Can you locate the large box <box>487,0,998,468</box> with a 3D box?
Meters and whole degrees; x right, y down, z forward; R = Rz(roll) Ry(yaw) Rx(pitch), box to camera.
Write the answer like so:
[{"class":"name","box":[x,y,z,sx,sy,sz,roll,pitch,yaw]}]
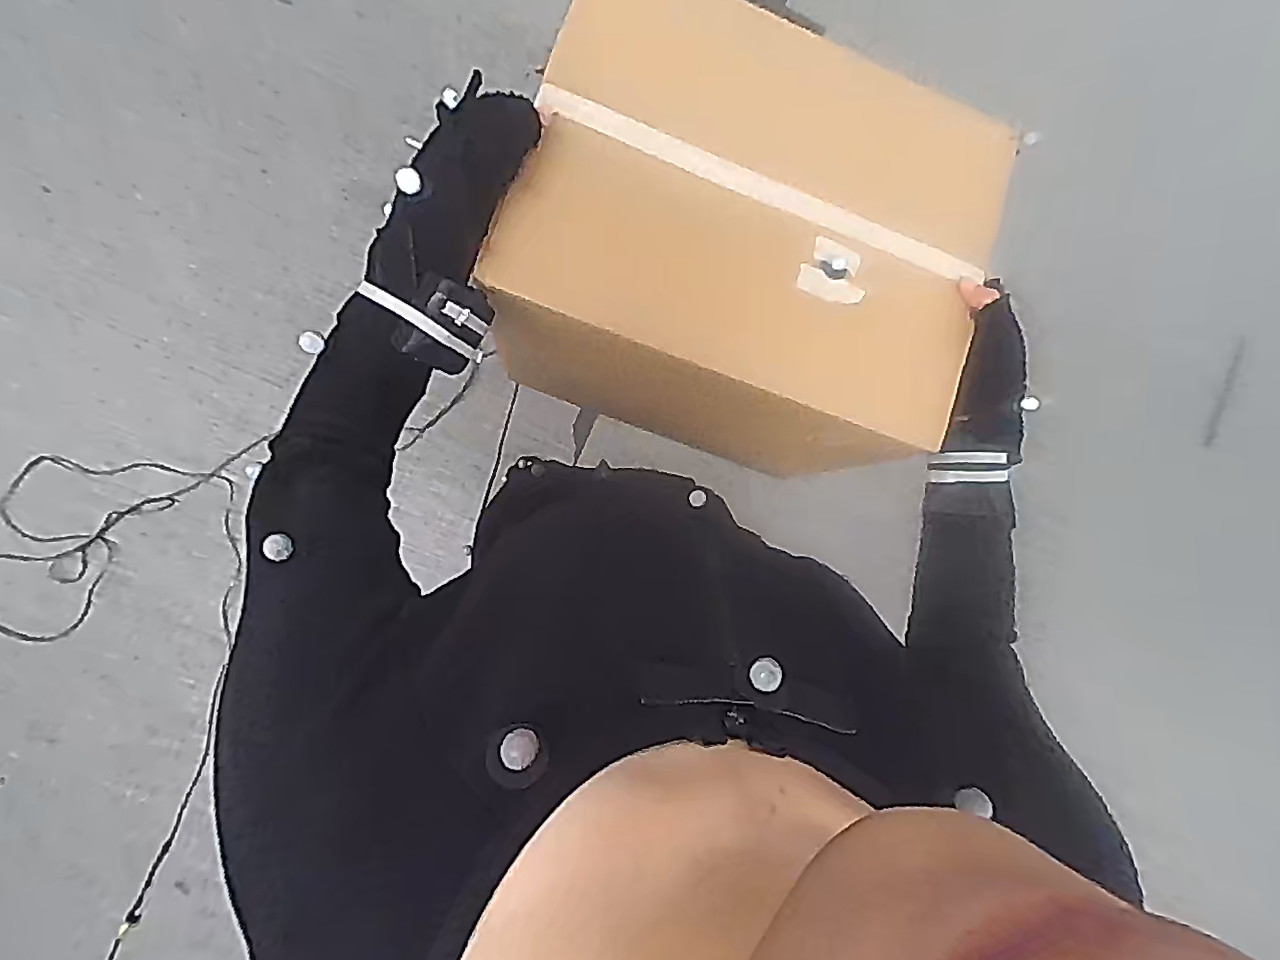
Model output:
[{"class":"large box","box":[0.083,-0.231,0.610,0.408,0.320,0.320,19,83,-7]}]
